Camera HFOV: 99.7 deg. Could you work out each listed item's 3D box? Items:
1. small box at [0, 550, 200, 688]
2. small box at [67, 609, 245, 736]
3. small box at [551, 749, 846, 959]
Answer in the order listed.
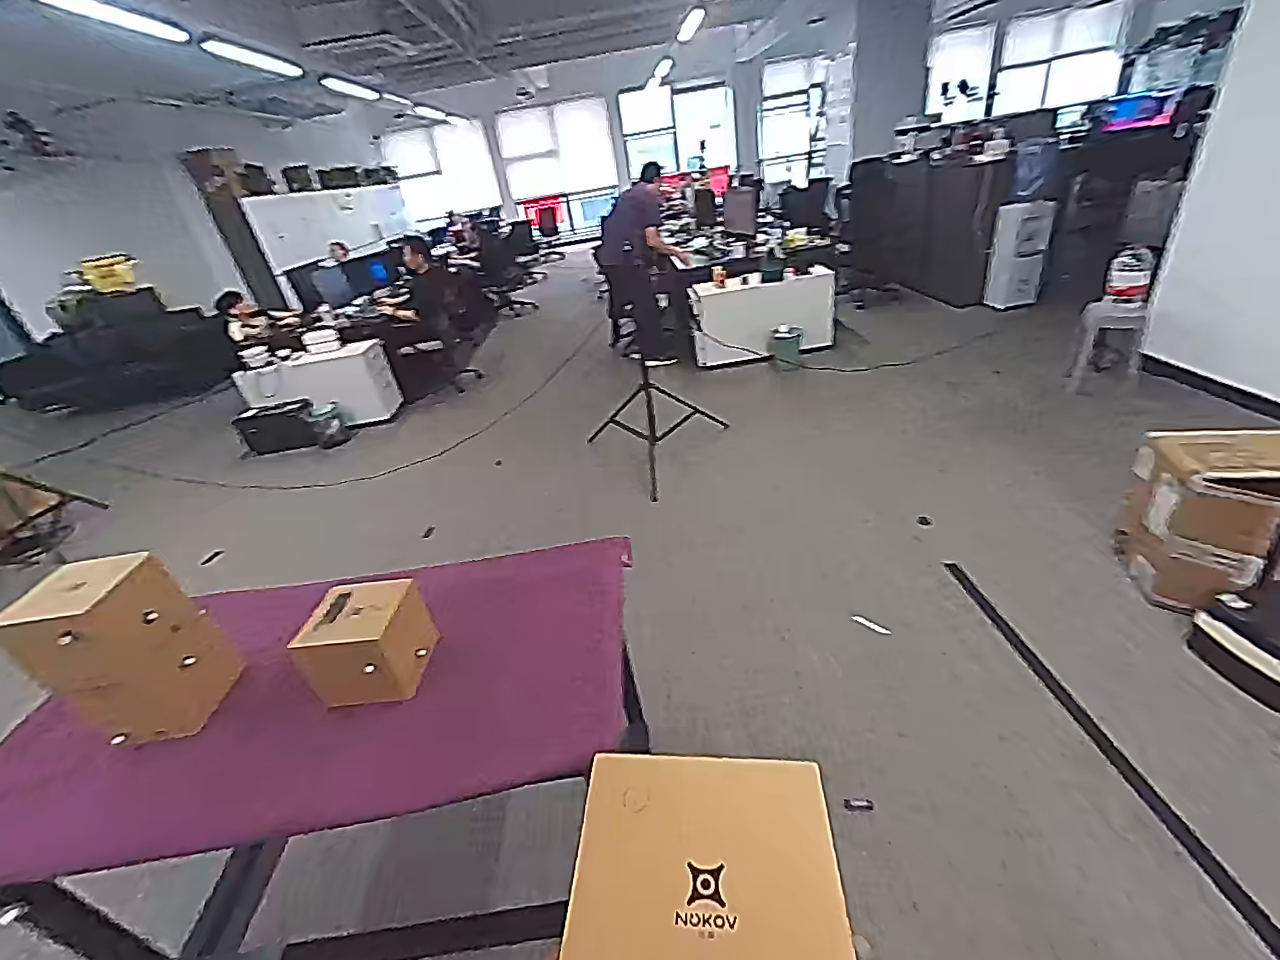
[{"bbox_3d":[-0.973,0.254,0.991,0.179,0.176,0.168,-9,31,1],"label":"small box"},{"bbox_3d":[-0.947,0.389,1.083,0.168,0.176,0.179,-9,30,2],"label":"small box"},{"bbox_3d":[0.039,0.317,0.368,0.168,0.176,0.179,-1,30,6],"label":"small box"}]
